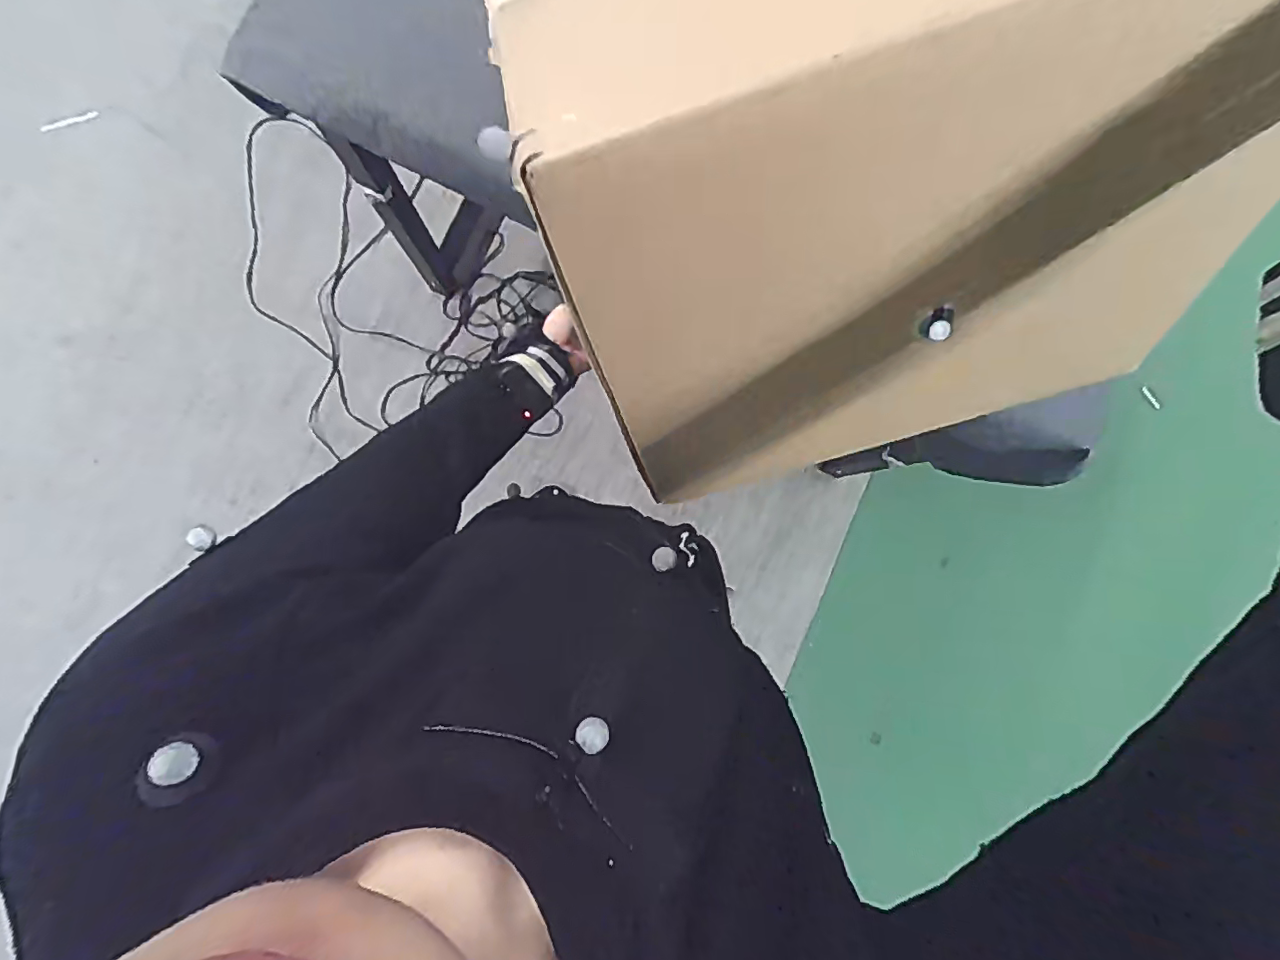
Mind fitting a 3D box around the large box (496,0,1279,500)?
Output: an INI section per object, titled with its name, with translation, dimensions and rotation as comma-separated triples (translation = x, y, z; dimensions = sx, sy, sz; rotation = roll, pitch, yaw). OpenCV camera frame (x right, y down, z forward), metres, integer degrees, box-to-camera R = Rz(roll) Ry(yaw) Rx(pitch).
[large box]
translation = 0.152, -0.234, 0.417
dimensions = 0.408, 0.320, 0.320
rotation = -19, 58, 5
